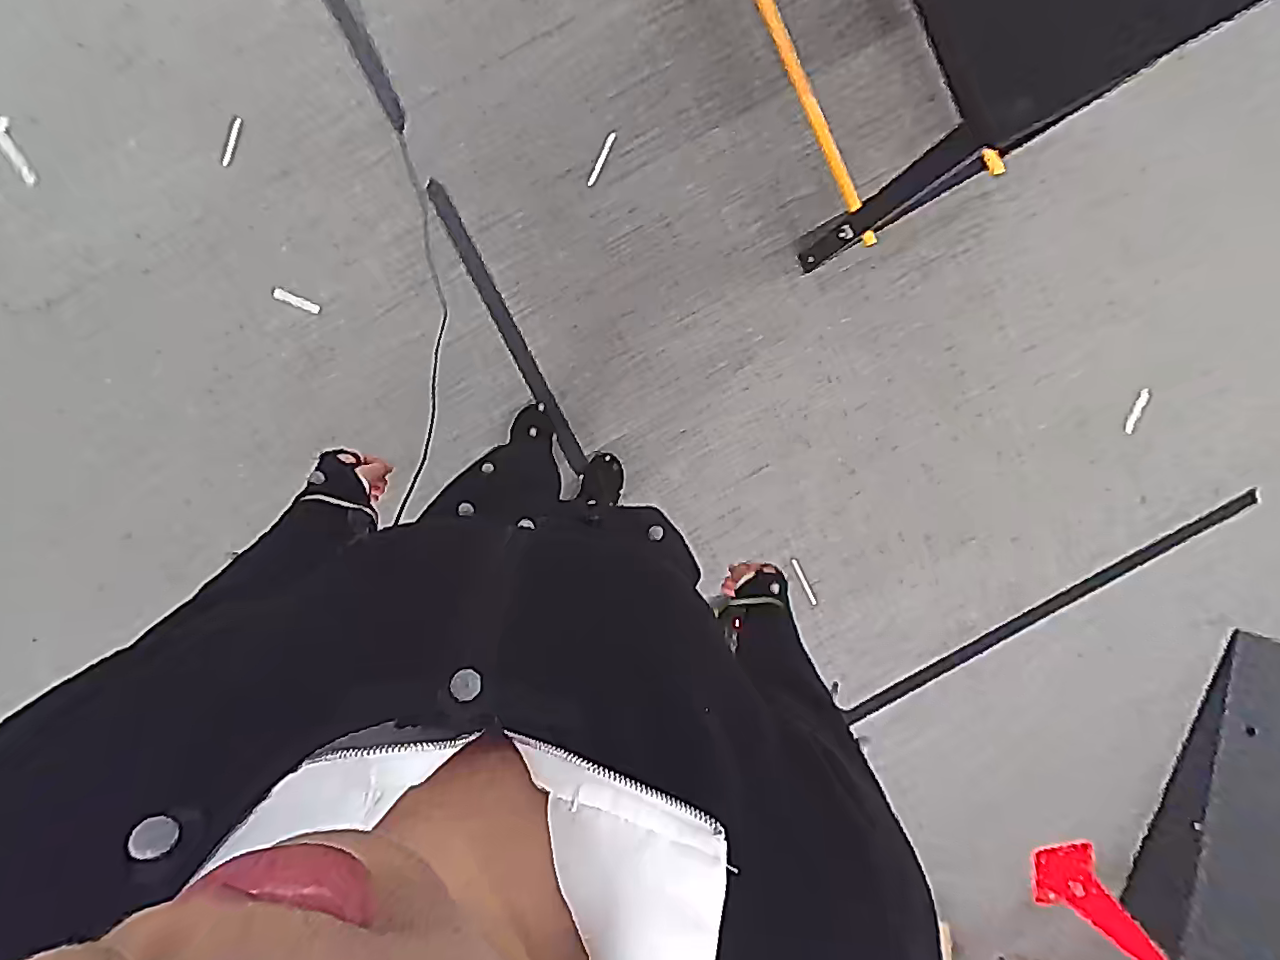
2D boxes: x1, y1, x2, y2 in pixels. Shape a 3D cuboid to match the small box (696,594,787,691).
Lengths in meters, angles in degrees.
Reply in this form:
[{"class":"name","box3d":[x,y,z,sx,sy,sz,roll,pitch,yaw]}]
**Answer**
[{"class":"small box","box3d":[0.271,0.436,1.486,0.179,0.176,0.168,-24,98,0]}]
